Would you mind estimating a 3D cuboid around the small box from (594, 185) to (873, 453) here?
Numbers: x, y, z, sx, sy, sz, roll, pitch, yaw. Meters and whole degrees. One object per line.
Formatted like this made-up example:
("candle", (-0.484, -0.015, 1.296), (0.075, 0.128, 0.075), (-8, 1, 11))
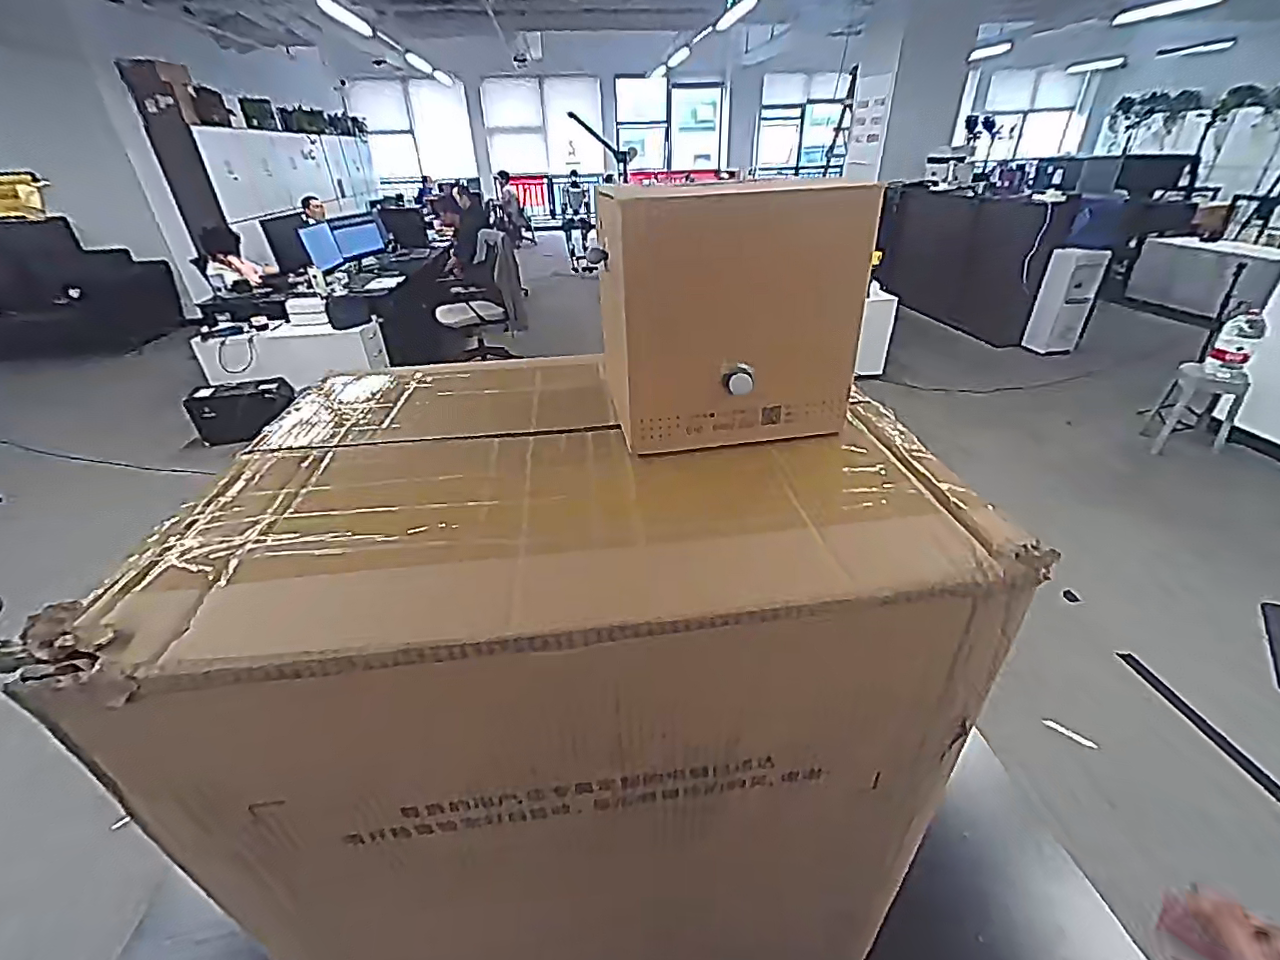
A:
("small box", (0.055, -0.137, 0.436), (0.168, 0.176, 0.179), (-7, 31, -6))
